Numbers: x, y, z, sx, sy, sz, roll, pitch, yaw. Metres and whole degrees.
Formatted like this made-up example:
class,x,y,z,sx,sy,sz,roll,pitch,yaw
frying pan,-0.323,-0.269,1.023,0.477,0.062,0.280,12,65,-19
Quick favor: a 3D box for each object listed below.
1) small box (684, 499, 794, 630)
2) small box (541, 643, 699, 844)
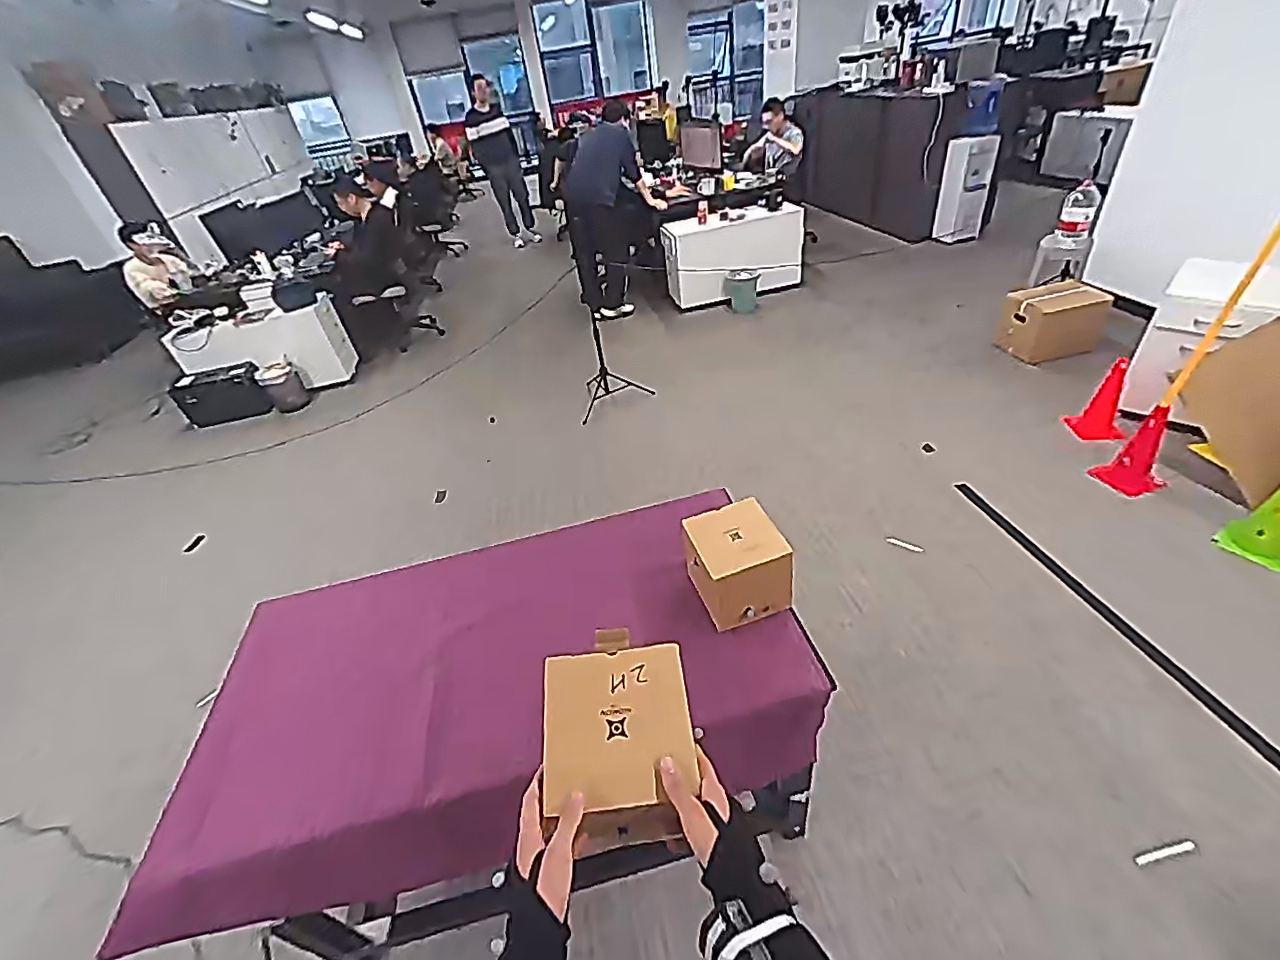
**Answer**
class,x,y,z,sx,sy,sz,roll,pitch,yaw
small box,0.200,0.173,1.113,0.168,0.176,0.179,-17,38,-7
small box,-0.023,0.325,0.661,0.168,0.176,0.179,-5,45,-3
